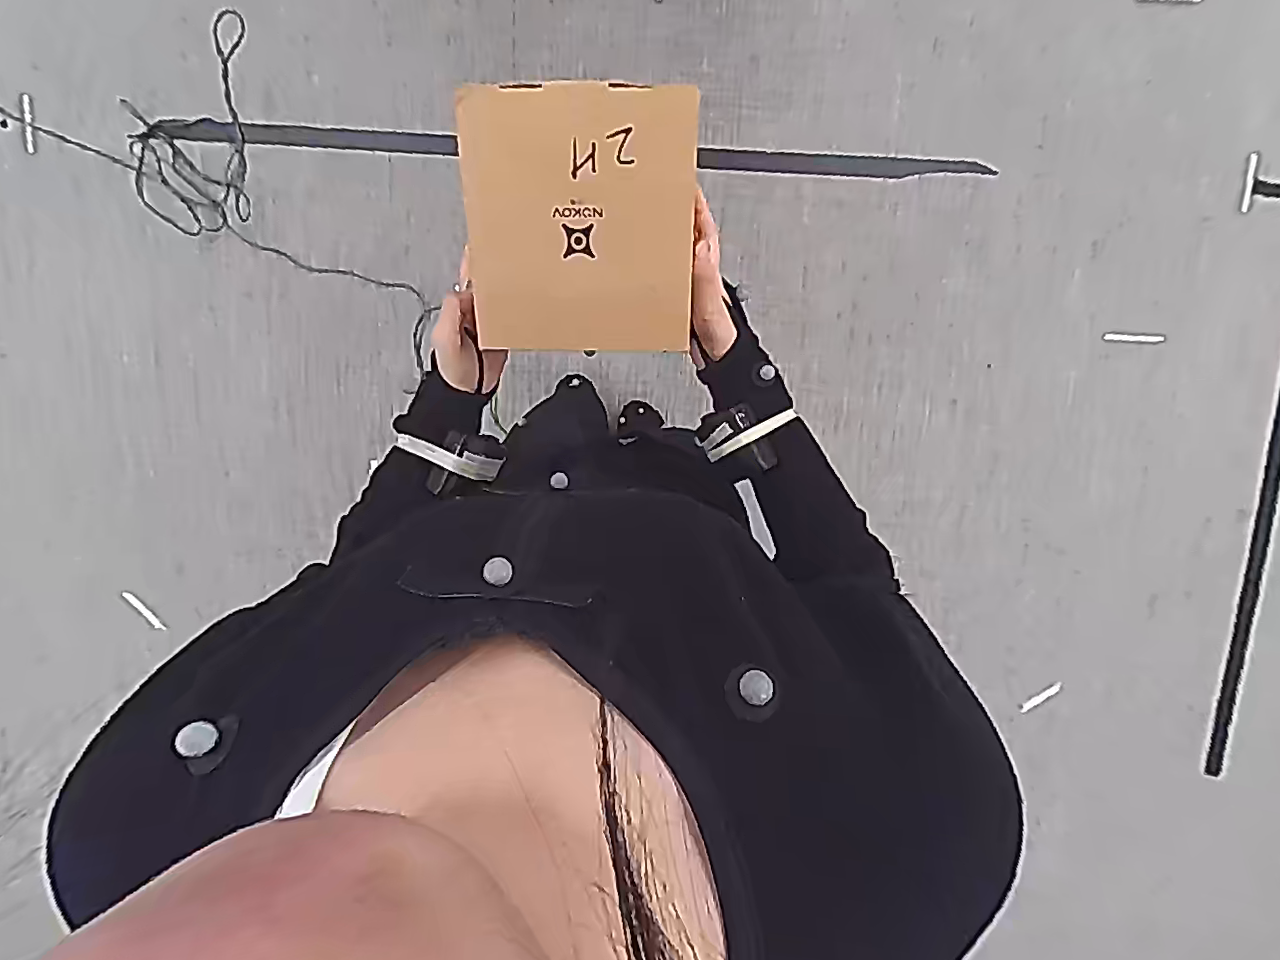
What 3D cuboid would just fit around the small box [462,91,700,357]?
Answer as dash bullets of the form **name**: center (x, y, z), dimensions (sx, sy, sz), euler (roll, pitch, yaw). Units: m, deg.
- **small box**: center (-0.040, -0.208, 0.470), dimensions (0.168, 0.176, 0.179), euler (1, 110, 1)
